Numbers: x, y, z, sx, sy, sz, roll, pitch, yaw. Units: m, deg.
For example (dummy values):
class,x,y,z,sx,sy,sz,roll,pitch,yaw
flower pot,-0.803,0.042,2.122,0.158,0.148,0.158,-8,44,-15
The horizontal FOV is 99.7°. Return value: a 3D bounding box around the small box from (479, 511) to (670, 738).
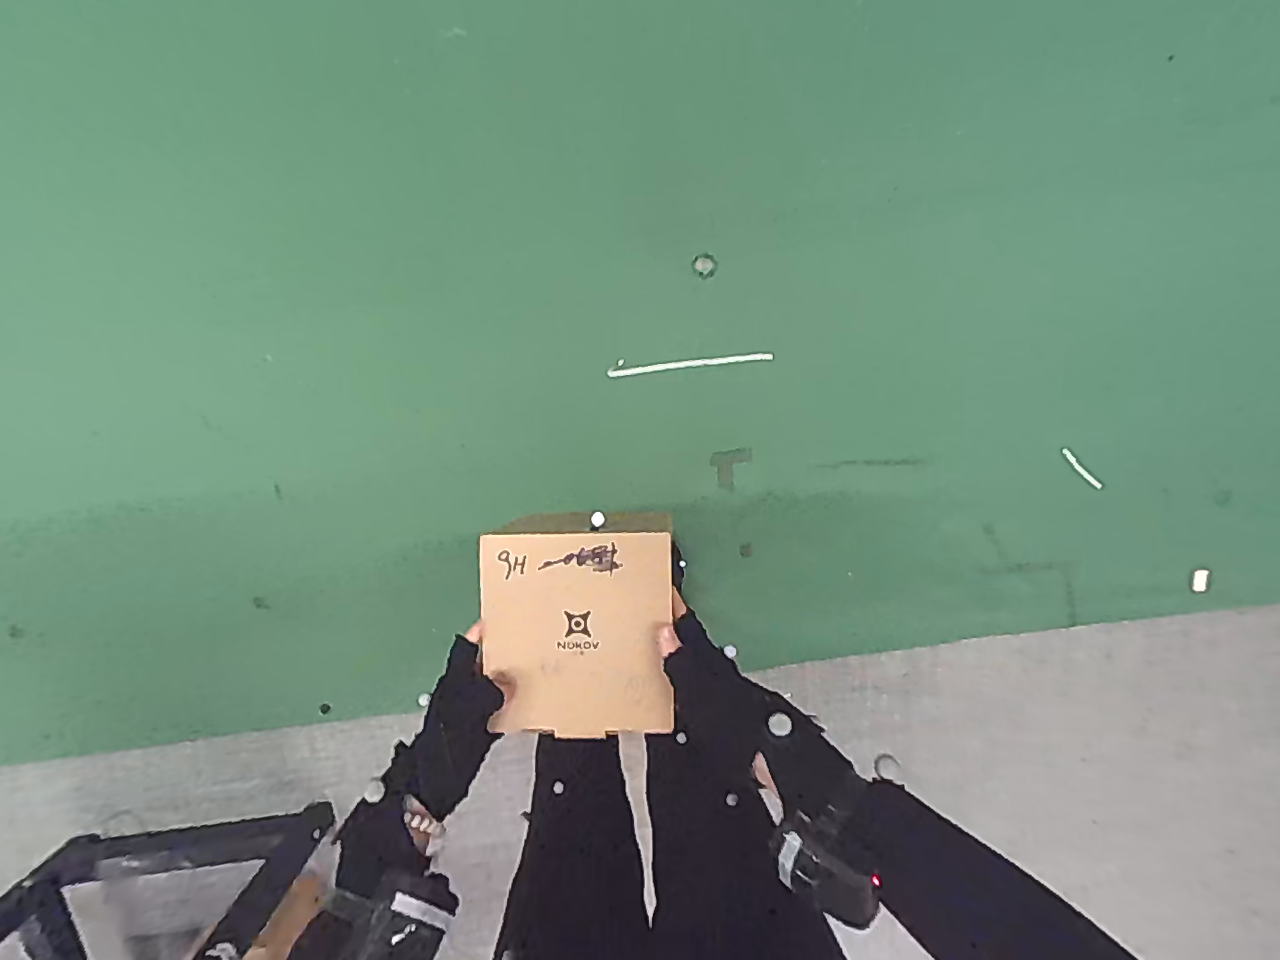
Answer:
class,x,y,z,sx,sy,sz,roll,pitch,yaw
small box,-0.053,0.130,0.543,0.168,0.176,0.179,0,94,1
